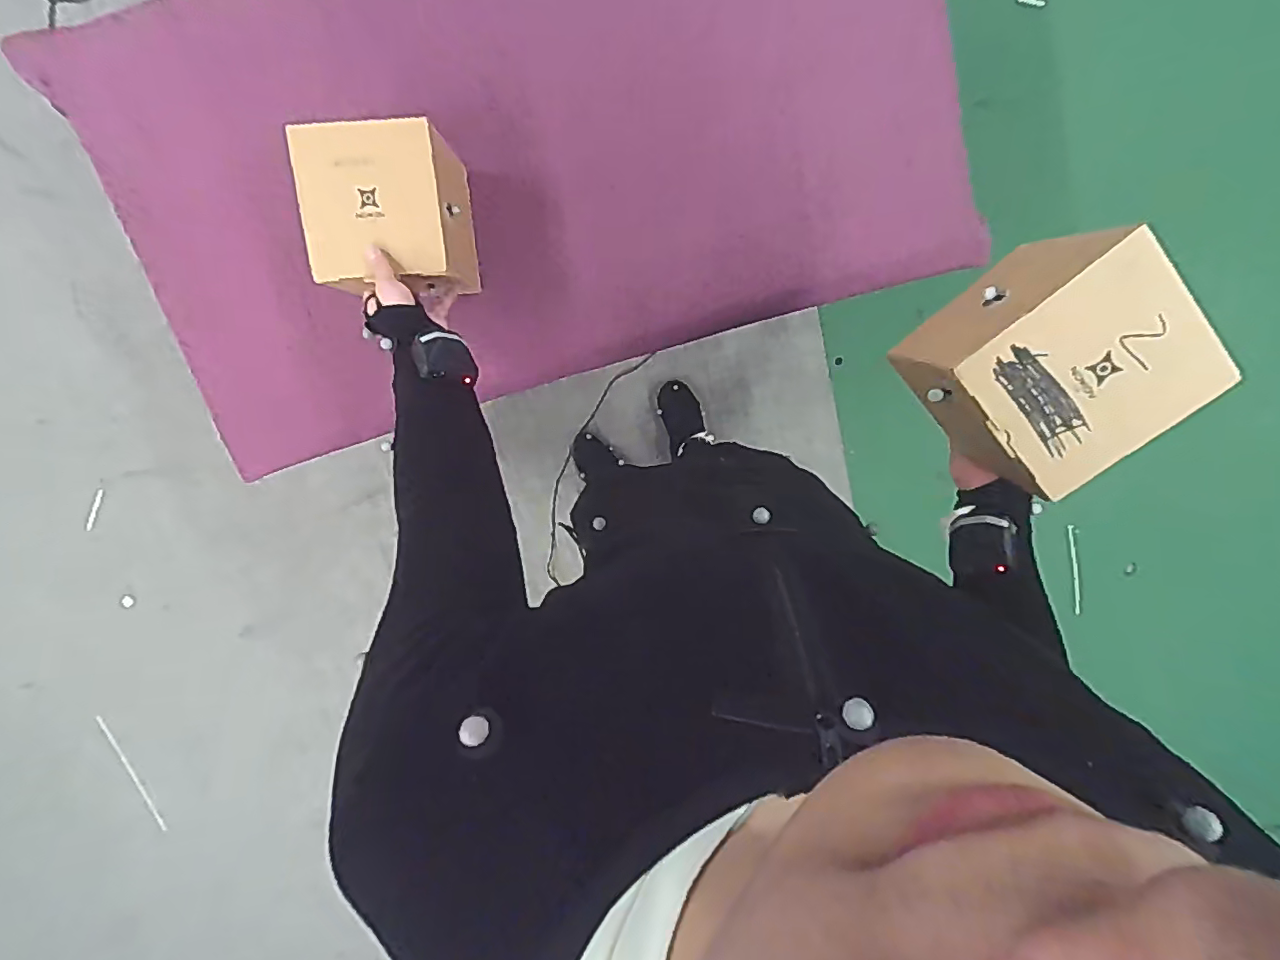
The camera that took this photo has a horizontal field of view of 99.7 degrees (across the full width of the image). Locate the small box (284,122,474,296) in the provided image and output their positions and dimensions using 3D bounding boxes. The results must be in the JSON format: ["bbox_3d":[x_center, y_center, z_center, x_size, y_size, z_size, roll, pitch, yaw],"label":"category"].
[{"bbox_3d":[-0.331,-0.345,0.724,0.168,0.176,0.179,-4,102,-2],"label":"small box"}]
